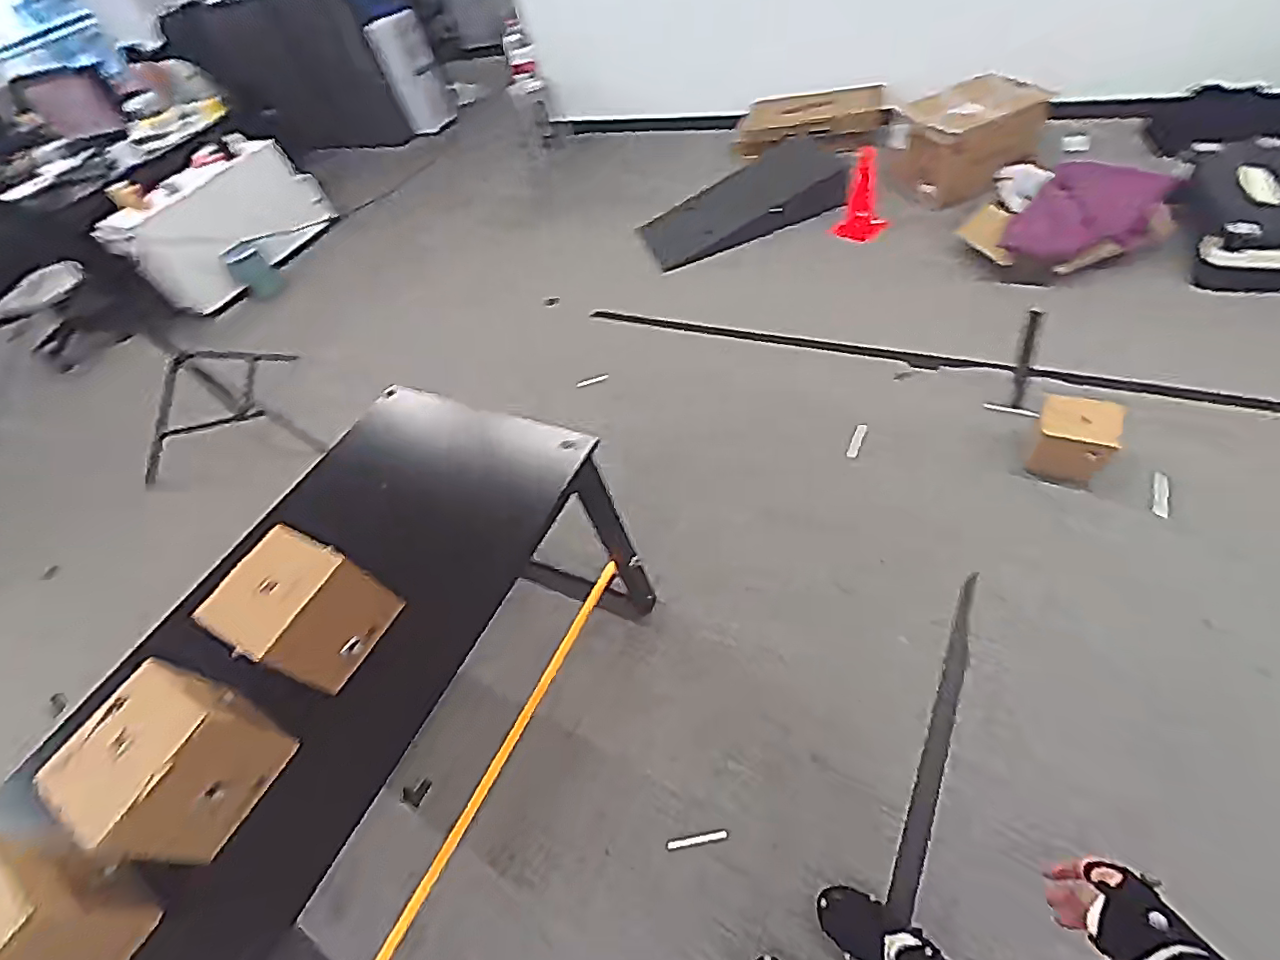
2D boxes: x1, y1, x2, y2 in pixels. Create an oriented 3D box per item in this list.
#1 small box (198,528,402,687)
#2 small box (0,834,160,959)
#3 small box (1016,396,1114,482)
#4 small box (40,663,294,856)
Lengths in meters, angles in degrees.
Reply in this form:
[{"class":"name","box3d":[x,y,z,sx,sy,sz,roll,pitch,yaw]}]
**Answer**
[{"class":"small box","box3d":[-0.528,0.206,0.861,0.179,0.176,0.168,16,60,24]},{"class":"small box","box3d":[-0.746,0.561,0.642,0.168,0.176,0.179,17,58,25]},{"class":"small box","box3d":[1.233,-0.114,1.575,0.179,0.176,0.168,16,59,25]},{"class":"small box","box3d":[-0.635,0.386,0.749,0.179,0.176,0.168,17,60,26]}]
